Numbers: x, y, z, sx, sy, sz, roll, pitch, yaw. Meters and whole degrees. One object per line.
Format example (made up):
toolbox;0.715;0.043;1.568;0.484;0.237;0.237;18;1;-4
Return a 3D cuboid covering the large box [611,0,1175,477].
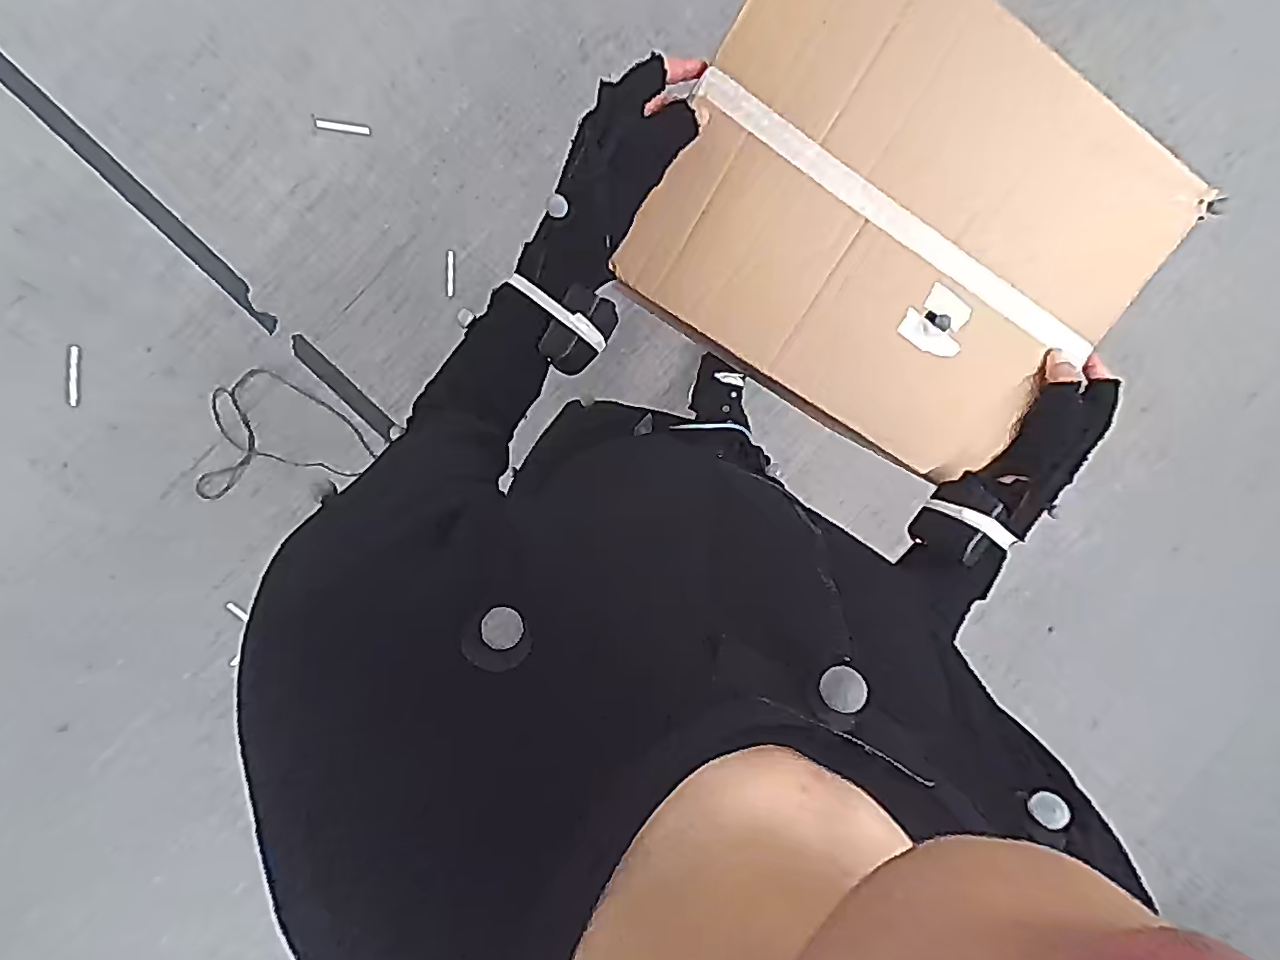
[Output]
large box;0.210;-0.263;0.608;0.408;0.320;0.320;30;105;-11
